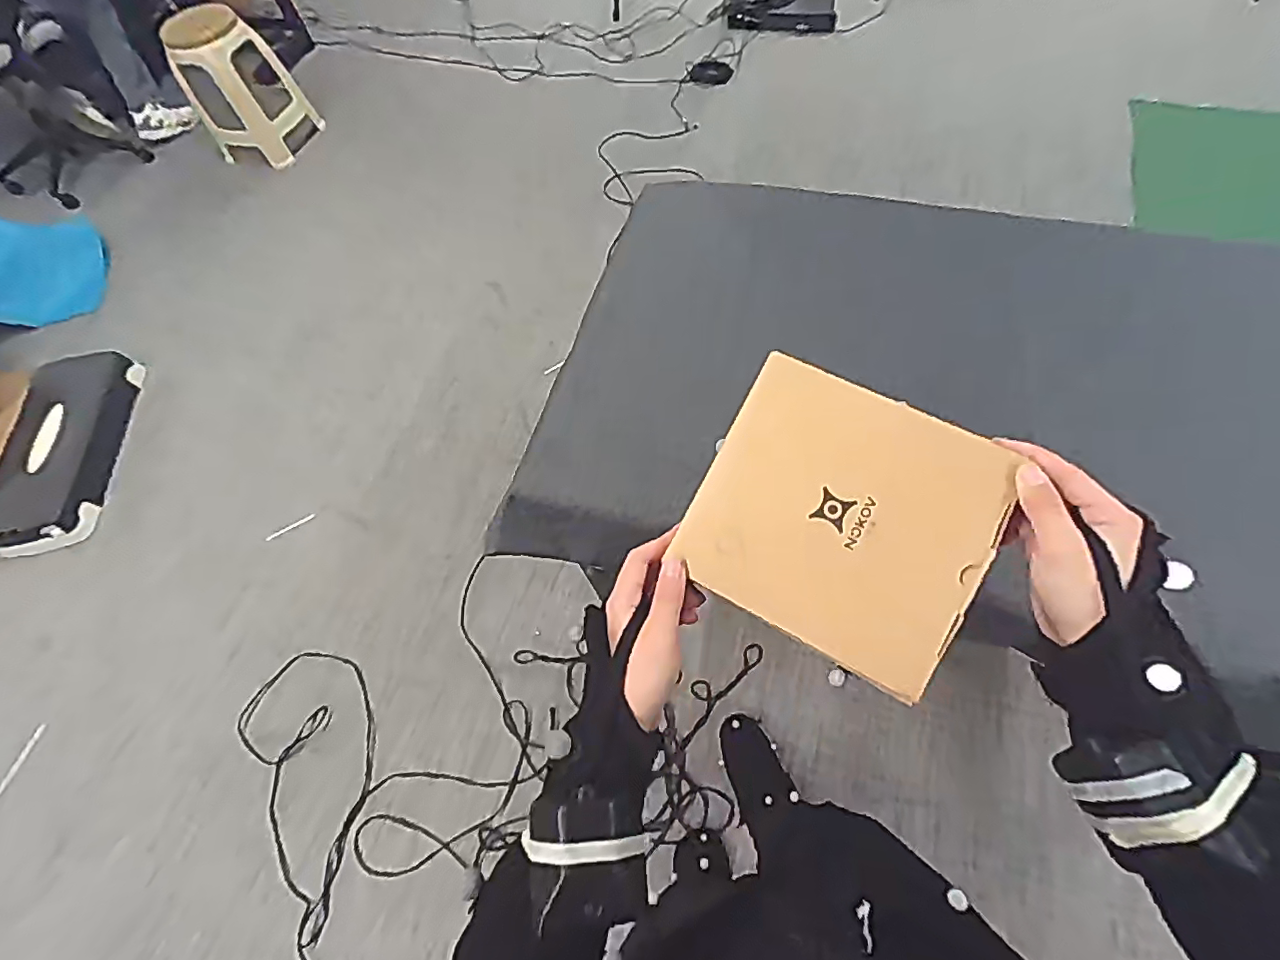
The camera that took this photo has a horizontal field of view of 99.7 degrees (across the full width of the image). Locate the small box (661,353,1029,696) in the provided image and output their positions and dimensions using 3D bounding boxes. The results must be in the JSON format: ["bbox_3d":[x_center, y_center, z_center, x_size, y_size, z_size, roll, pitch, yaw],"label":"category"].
[{"bbox_3d":[0.138,0.035,0.419,0.179,0.176,0.168,27,85,14],"label":"small box"}]
